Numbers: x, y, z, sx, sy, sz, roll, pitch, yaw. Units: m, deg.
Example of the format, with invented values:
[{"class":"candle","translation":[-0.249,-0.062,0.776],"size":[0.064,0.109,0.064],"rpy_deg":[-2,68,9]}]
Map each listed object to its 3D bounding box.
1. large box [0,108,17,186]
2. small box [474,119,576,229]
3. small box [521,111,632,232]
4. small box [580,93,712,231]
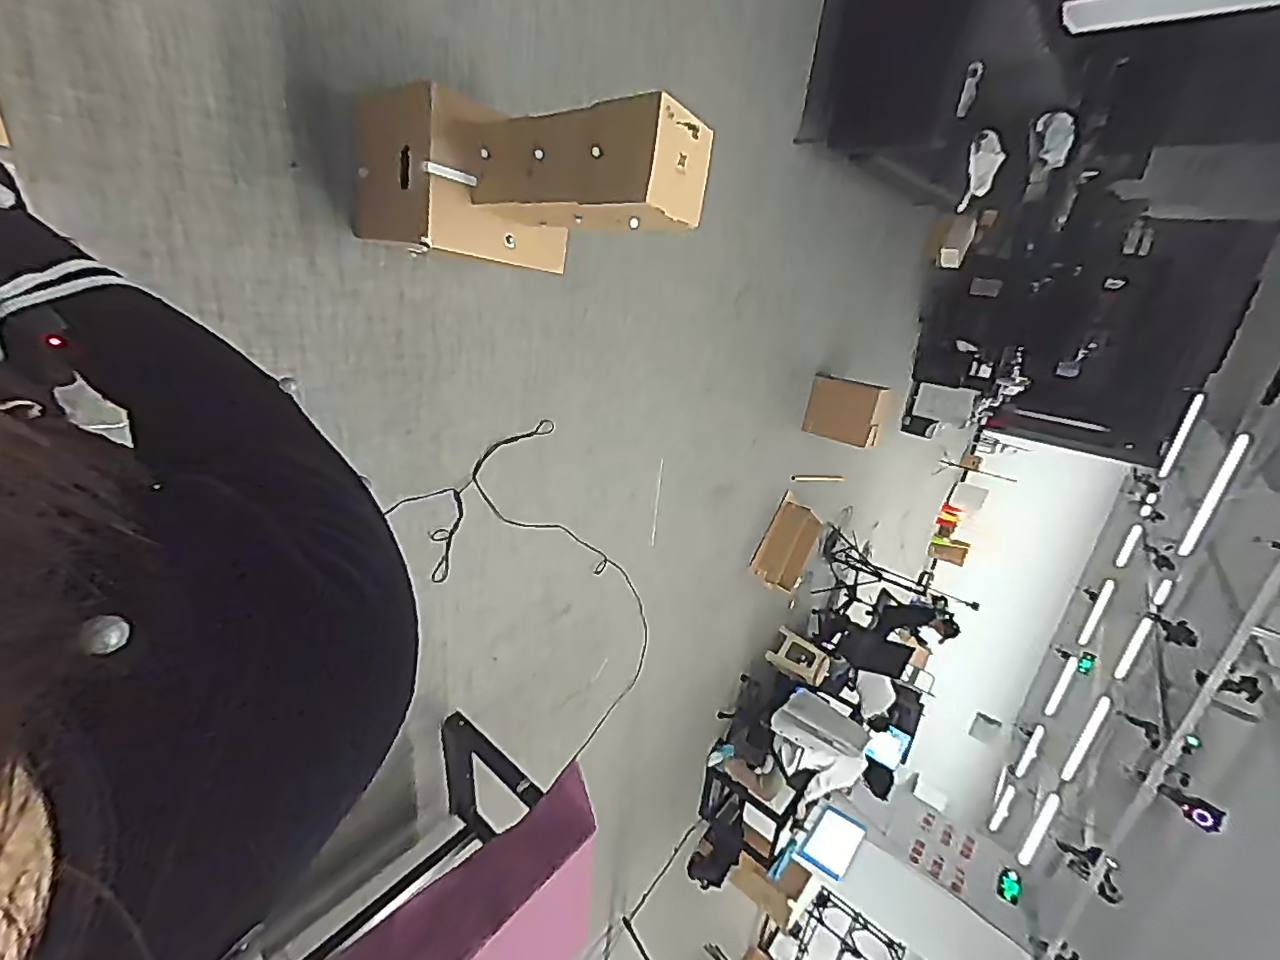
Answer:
[{"class":"large box","translation":[-1.037,-0.593,0.635],"size":[0.320,0.320,0.408],"rpy_deg":[-20,122,-47]},{"class":"small box","translation":[-0.243,-0.675,1.210],"size":[0.179,0.176,0.168],"rpy_deg":[-7,111,-51]},{"class":"small box","translation":[-0.117,-0.626,1.117],"size":[0.179,0.176,0.168],"rpy_deg":[-4,109,-51]},{"class":"small box","translation":[0.008,-0.584,1.018],"size":[0.168,0.176,0.179],"rpy_deg":[-7,111,-52]}]
